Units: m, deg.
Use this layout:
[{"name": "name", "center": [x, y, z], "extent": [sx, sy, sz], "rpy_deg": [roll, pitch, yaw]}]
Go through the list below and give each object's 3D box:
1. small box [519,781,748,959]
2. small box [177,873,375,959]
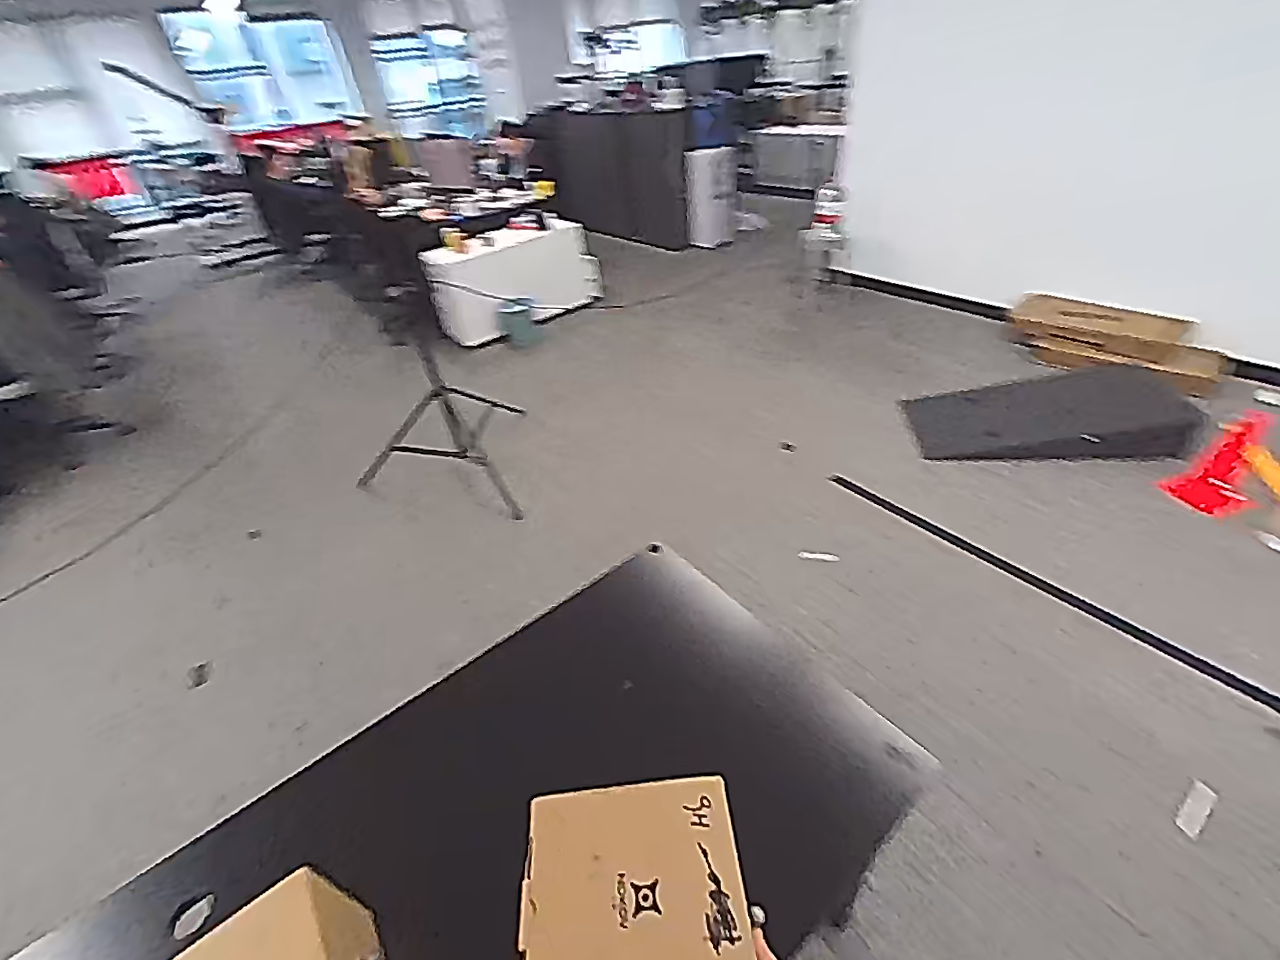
[{"name": "small box", "center": [-0.001, 0.397, 0.485], "extent": [0.179, 0.176, 0.168], "rpy_deg": [-6, 42, 0]}, {"name": "small box", "center": [-0.364, 0.547, 0.528], "extent": [0.179, 0.176, 0.168], "rpy_deg": [-30, 43, -26]}]
